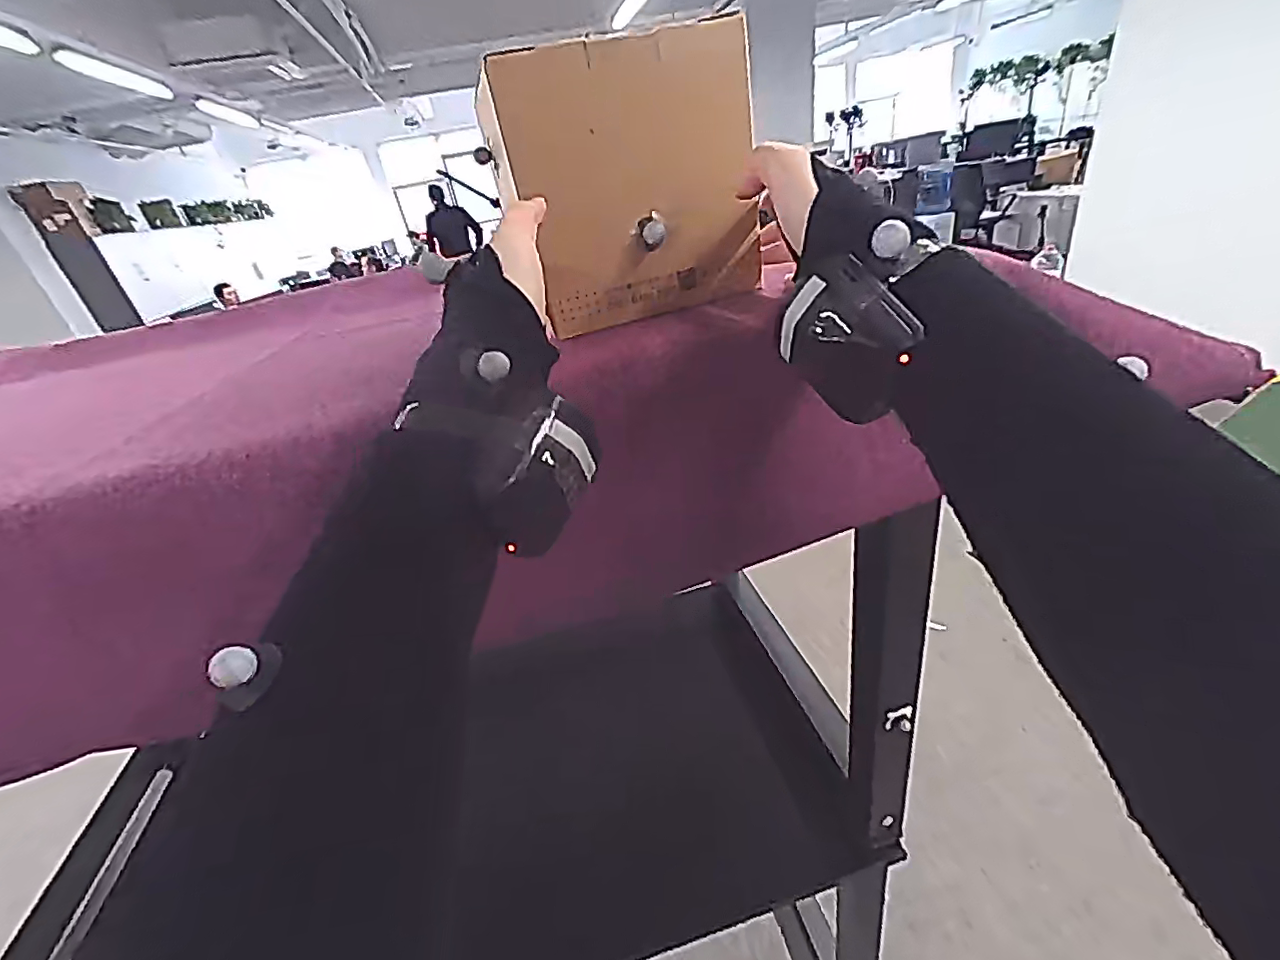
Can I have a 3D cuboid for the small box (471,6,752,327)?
[{"bbox_3d":[-0.026,-0.229,0.426,0.168,0.176,0.179,-17,30,-9],"label":"small box"}]
